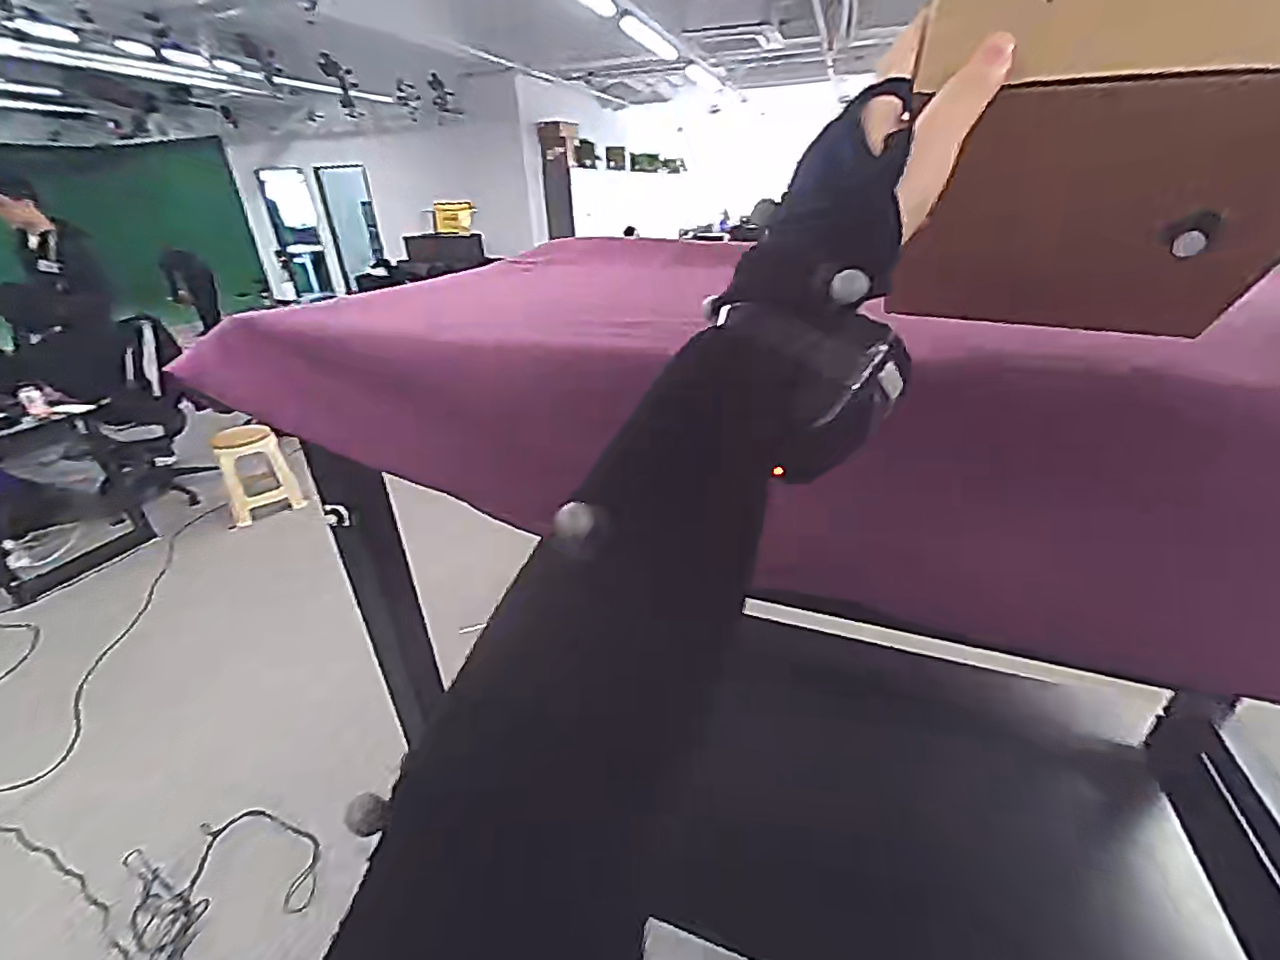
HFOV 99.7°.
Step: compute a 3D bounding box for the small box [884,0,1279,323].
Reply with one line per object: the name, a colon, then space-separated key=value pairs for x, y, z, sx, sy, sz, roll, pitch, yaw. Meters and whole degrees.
small box: x=0.248 y=-0.205 z=0.295 sx=0.179 sy=0.176 sz=0.168 roll=13 pitch=76 yaw=23
